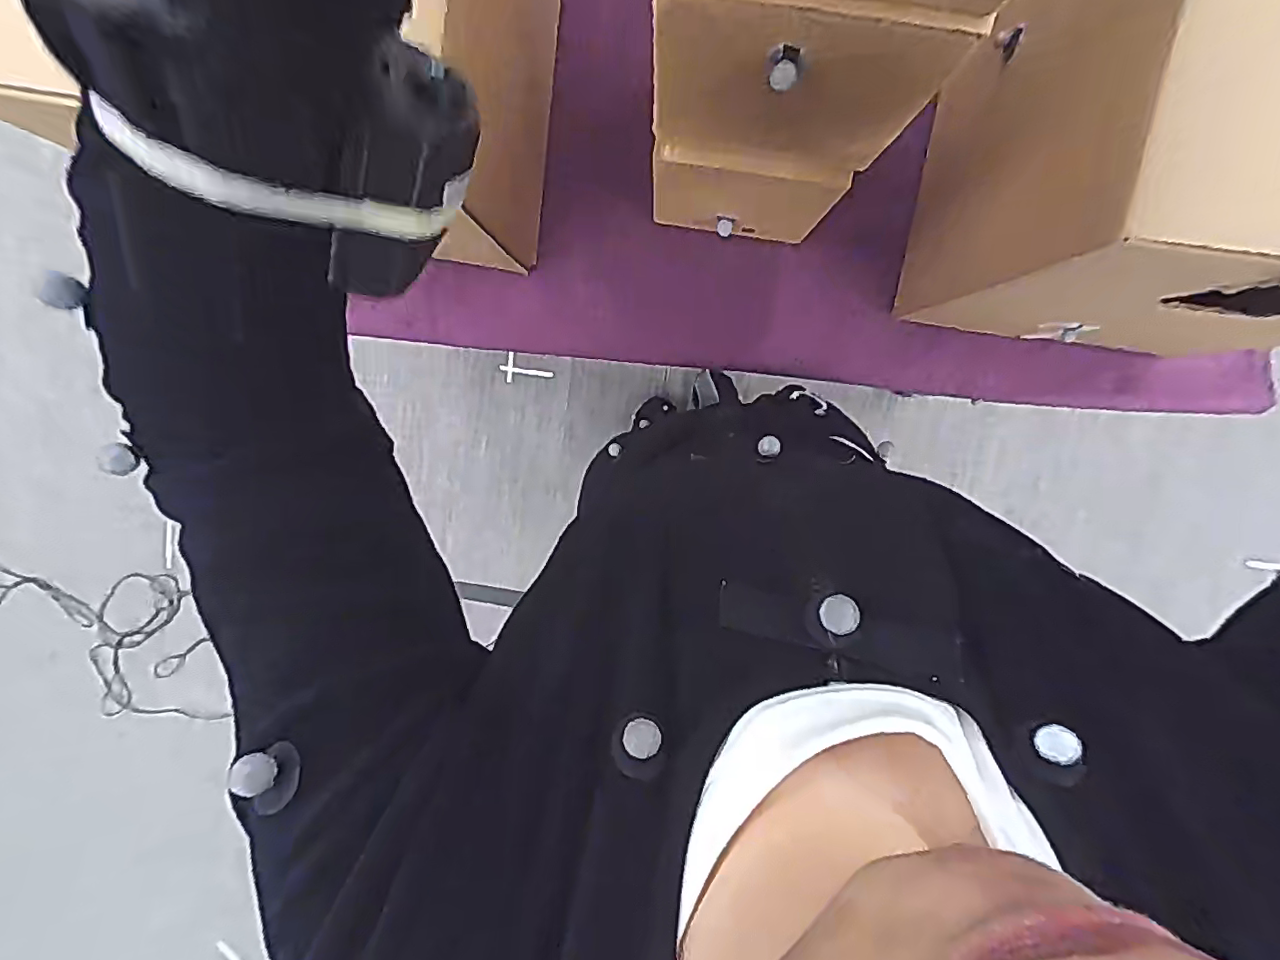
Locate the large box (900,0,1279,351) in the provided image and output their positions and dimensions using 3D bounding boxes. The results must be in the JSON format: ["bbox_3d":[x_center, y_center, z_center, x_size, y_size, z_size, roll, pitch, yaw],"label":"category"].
[{"bbox_3d":[0.451,-0.332,0.427,0.320,0.320,0.408,8,98,1],"label":"large box"}]
